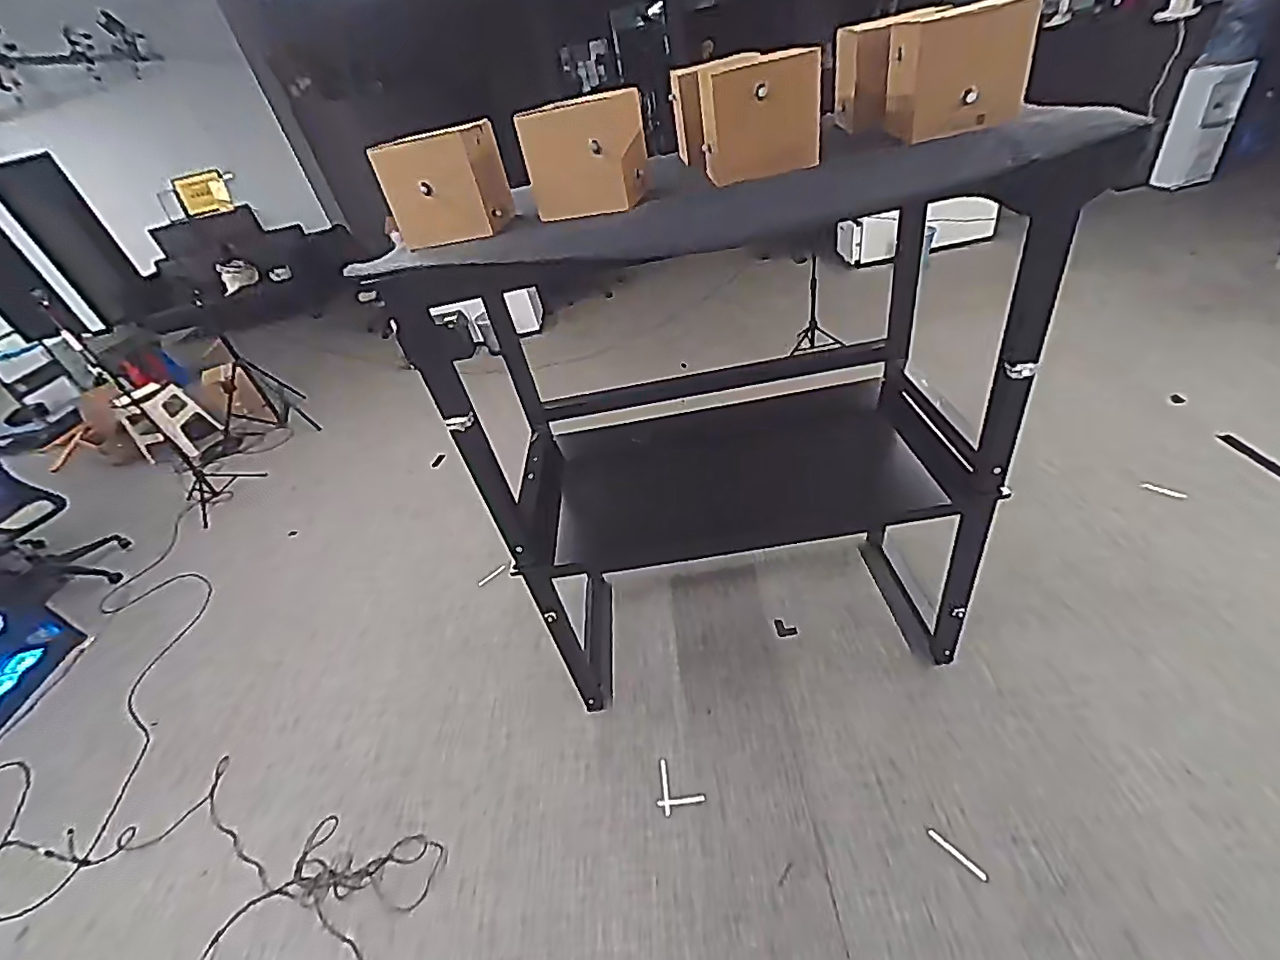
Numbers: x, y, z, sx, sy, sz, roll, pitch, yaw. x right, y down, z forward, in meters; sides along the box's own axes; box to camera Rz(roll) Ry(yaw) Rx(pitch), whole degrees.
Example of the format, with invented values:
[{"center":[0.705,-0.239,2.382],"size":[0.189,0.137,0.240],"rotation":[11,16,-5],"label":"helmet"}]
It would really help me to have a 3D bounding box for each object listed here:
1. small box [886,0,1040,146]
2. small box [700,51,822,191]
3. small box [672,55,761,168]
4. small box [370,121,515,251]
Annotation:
[{"center":[0.527,-0.683,0.915],"size":[0.168,0.176,0.179],"rotation":[-6,39,11],"label":"small box"},{"center":[0.209,-0.632,0.954],"size":[0.179,0.176,0.168],"rotation":[-10,38,5],"label":"small box"},{"center":[0.164,-0.783,1.152],"size":[0.168,0.176,0.179],"rotation":[-10,38,6],"label":"small box"},{"center":[-0.354,-0.549,1.012],"size":[0.179,0.176,0.168],"rotation":[-6,37,10],"label":"small box"}]
